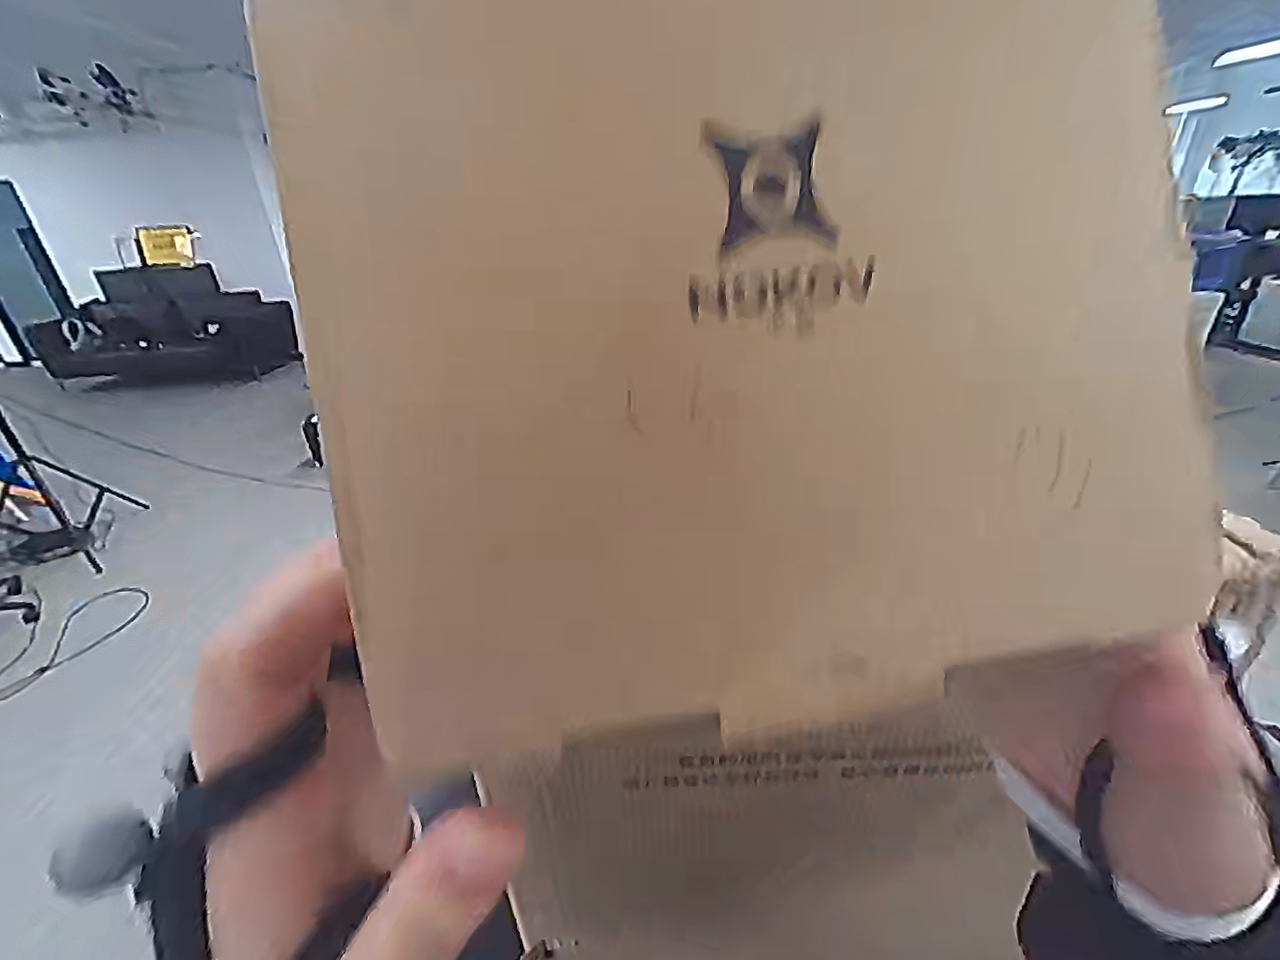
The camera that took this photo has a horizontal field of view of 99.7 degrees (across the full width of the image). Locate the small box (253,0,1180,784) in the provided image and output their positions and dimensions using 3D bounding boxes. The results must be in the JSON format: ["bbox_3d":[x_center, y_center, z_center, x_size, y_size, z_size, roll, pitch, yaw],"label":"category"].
[{"bbox_3d":[0.014,-0.042,0.182,0.168,0.179,0.176,-9,3,-6],"label":"small box"}]
